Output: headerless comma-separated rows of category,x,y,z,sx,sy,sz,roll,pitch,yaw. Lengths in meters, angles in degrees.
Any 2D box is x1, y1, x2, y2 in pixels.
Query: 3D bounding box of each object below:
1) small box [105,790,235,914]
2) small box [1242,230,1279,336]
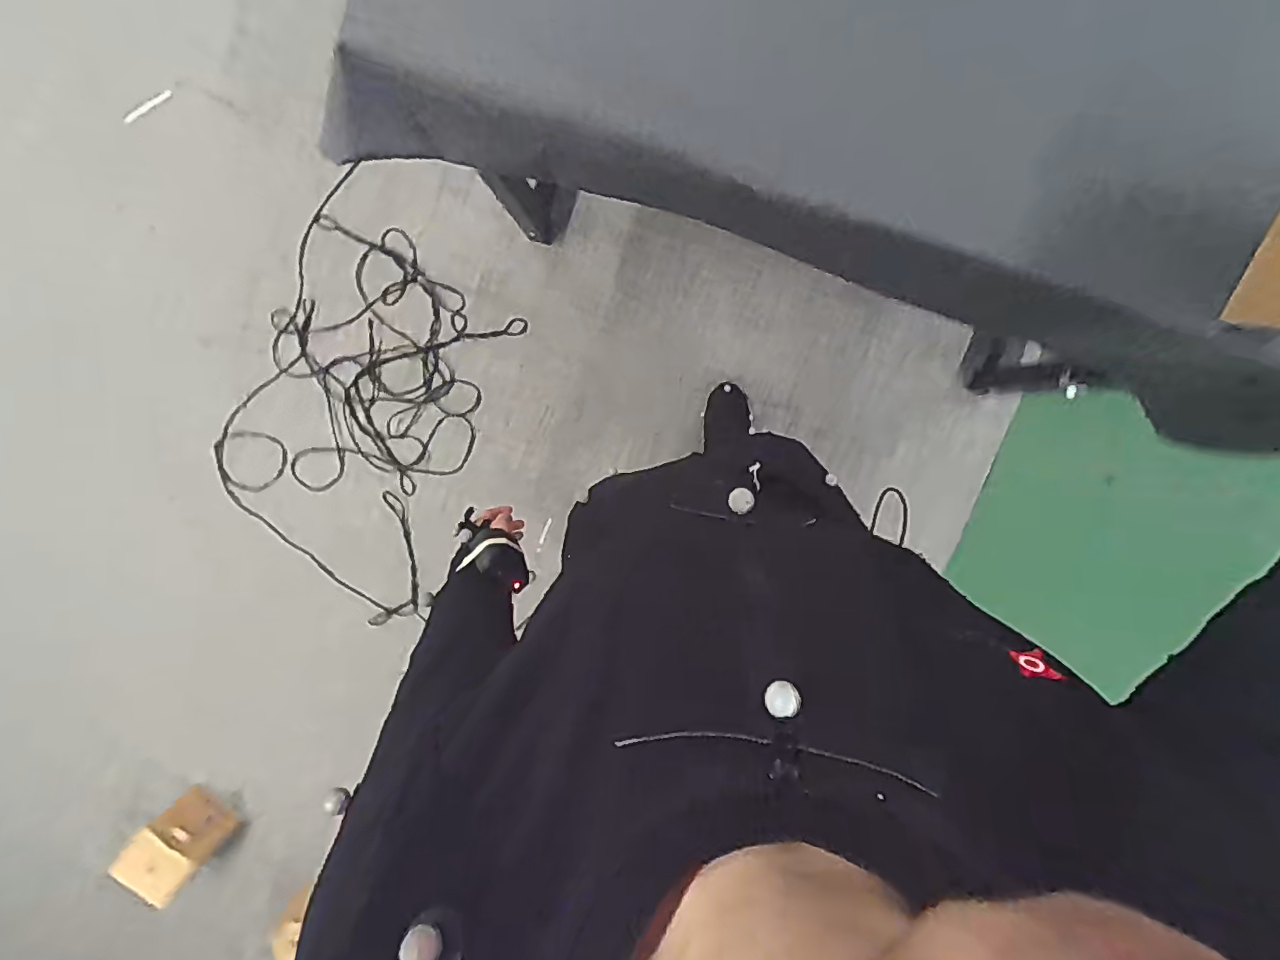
small box,-1.243,0.985,1.445,0.168,0.176,0.179,38,97,-3
small box,0.645,-0.180,0.412,0.168,0.176,0.179,12,113,5
